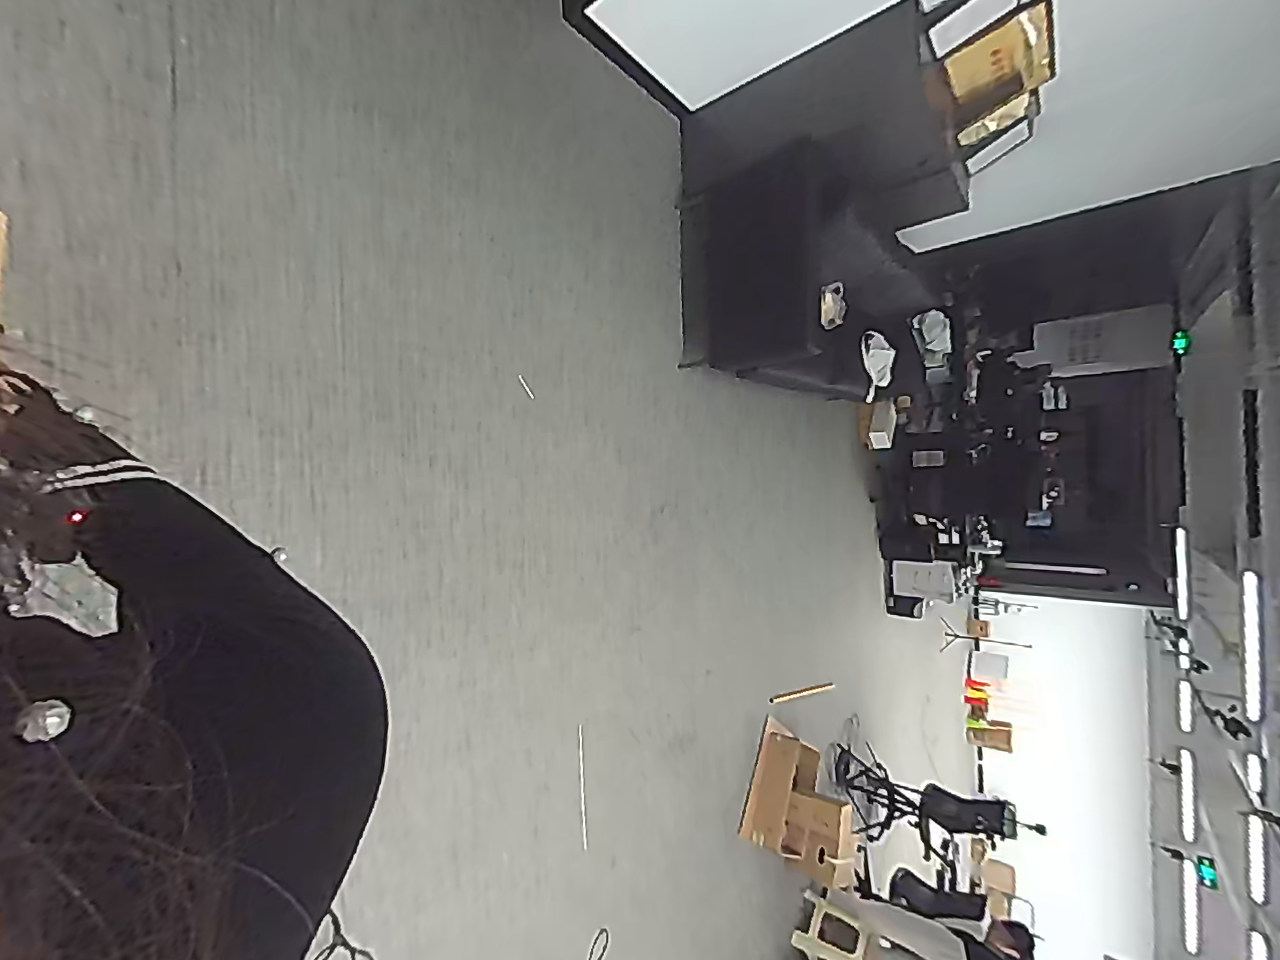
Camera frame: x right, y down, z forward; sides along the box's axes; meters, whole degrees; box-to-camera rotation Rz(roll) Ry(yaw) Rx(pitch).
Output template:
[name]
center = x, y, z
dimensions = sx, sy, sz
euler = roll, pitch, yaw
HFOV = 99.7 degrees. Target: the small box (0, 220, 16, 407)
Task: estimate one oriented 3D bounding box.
[small box]
center = -0.668, -0.149, 0.463
dimensions = 0.168, 0.176, 0.179
euler = 6, 88, -49
